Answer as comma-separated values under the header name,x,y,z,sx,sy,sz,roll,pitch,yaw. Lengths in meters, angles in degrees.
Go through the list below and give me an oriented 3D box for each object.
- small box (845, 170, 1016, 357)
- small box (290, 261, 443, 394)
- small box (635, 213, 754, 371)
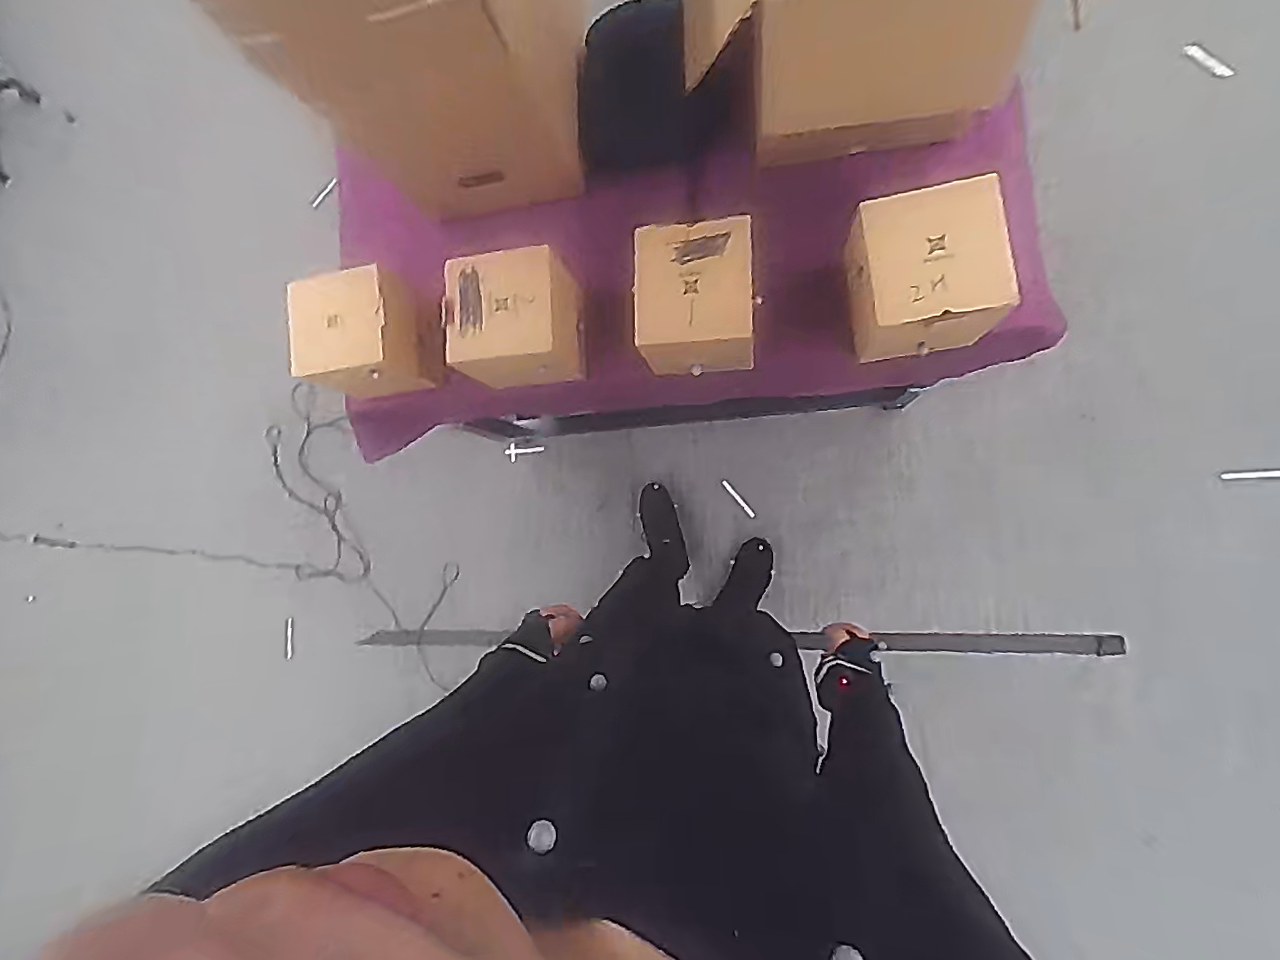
name,x,y,z,sx,sy,sz,roll,pitch,yaw
small box,0.396,-0.293,0.768,0.168,0.176,0.179,-7,85,13
small box,-0.477,-0.257,0.958,0.179,0.176,0.168,-7,85,10
small box,0.090,-0.278,0.835,0.168,0.176,0.179,-1,87,13
